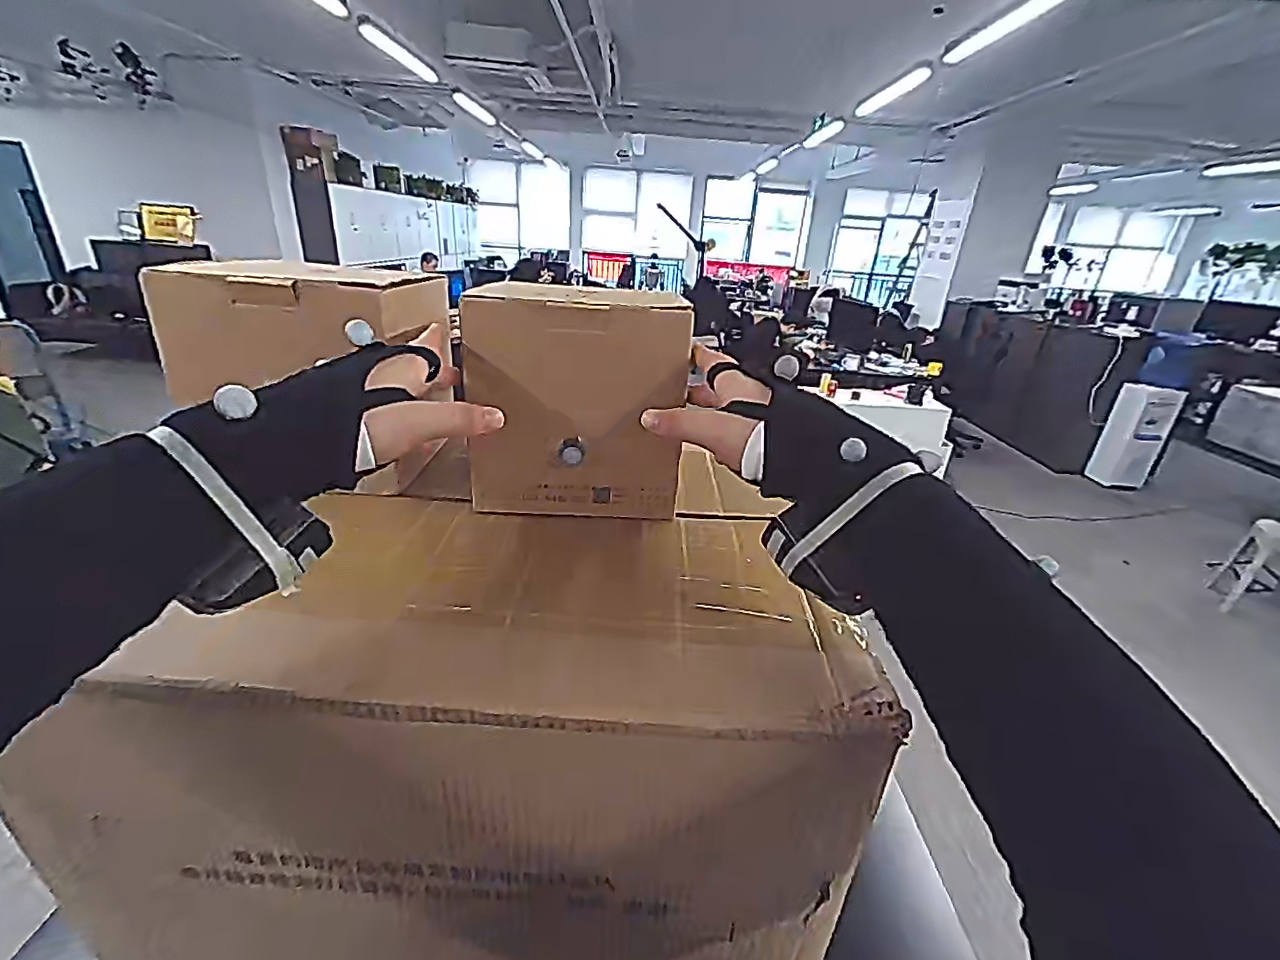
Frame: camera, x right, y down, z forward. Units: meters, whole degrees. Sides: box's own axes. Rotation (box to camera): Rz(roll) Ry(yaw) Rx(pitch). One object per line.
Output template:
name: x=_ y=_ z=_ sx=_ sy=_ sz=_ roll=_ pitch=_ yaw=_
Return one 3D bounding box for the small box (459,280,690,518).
small box: x=-0.051 y=-0.081 z=0.481 sx=0.168 sy=0.176 sz=0.179 roll=2 pitch=23 yaw=-2

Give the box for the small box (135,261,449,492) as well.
small box: x=-0.277 y=-0.098 z=0.486 sx=0.168 sy=0.176 sz=0.179 roll=3 pitch=24 yaw=-5
